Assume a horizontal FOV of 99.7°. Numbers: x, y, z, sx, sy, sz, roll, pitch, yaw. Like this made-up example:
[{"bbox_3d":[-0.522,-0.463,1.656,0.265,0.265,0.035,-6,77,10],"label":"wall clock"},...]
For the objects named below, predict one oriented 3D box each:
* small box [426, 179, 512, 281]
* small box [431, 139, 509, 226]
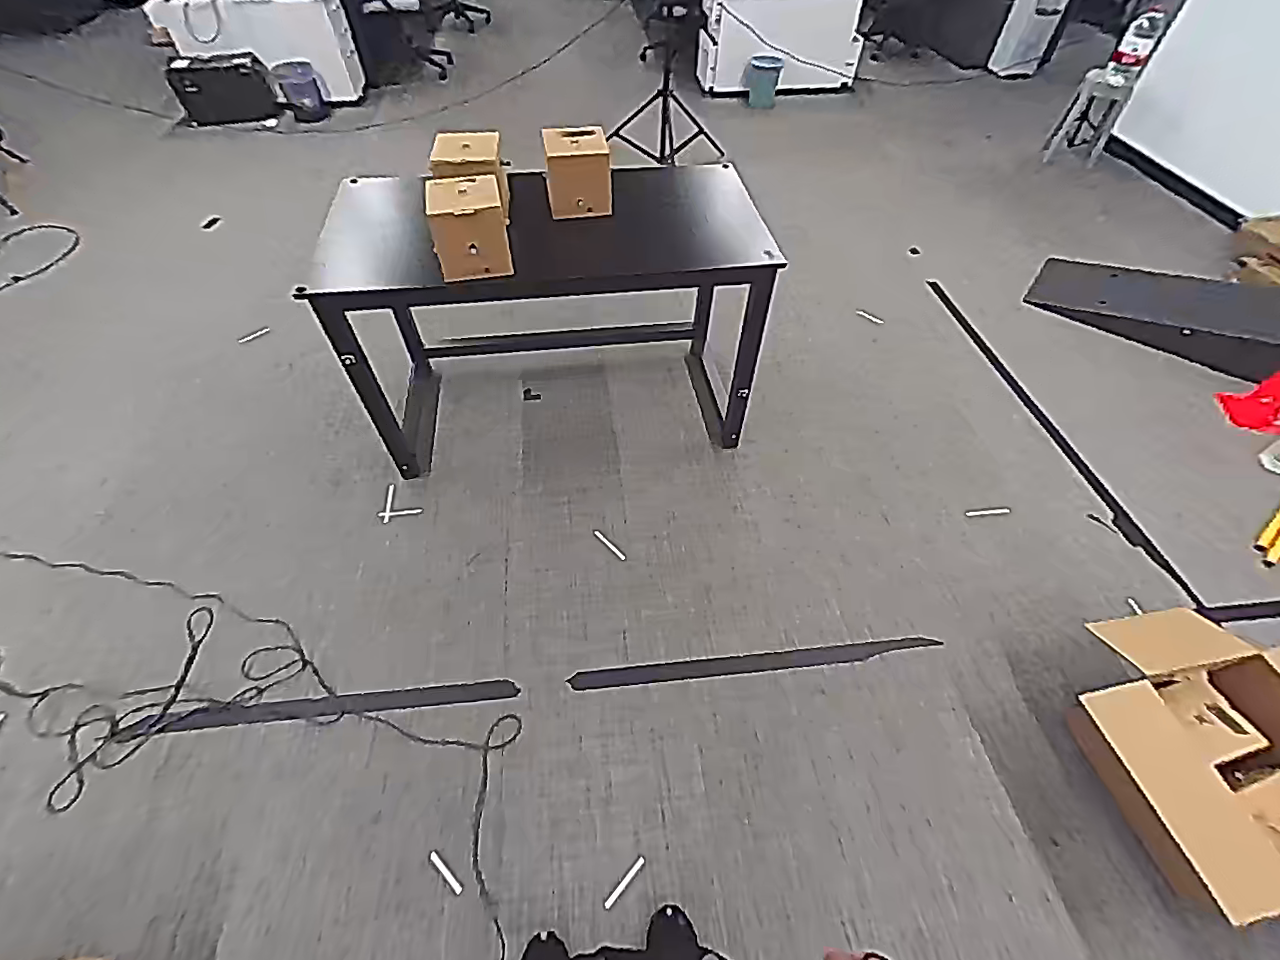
[{"bbox_3d":[-0.413,-0.603,1.319,0.168,0.176,0.179,-11,53,-9],"label":"small box"},{"bbox_3d":[-0.459,-0.813,1.485,0.168,0.176,0.179,-5,53,-5],"label":"small box"}]
